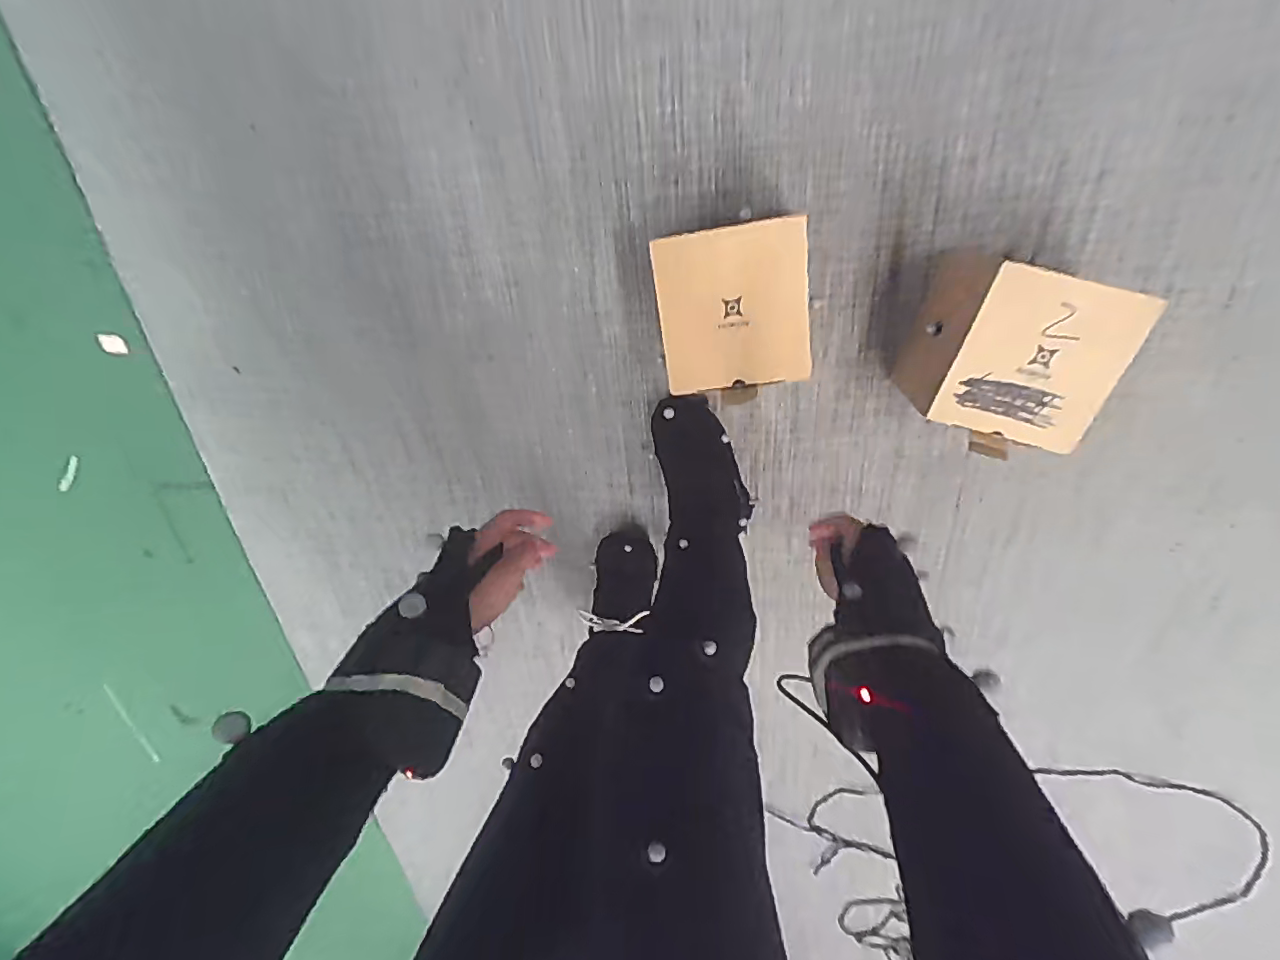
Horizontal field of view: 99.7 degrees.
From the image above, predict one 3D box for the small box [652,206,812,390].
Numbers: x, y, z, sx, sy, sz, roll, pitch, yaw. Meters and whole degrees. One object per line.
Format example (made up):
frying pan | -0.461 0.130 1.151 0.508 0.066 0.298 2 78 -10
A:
small box | 0.114 -0.225 0.664 0.168 0.176 0.179 -5 115 12
